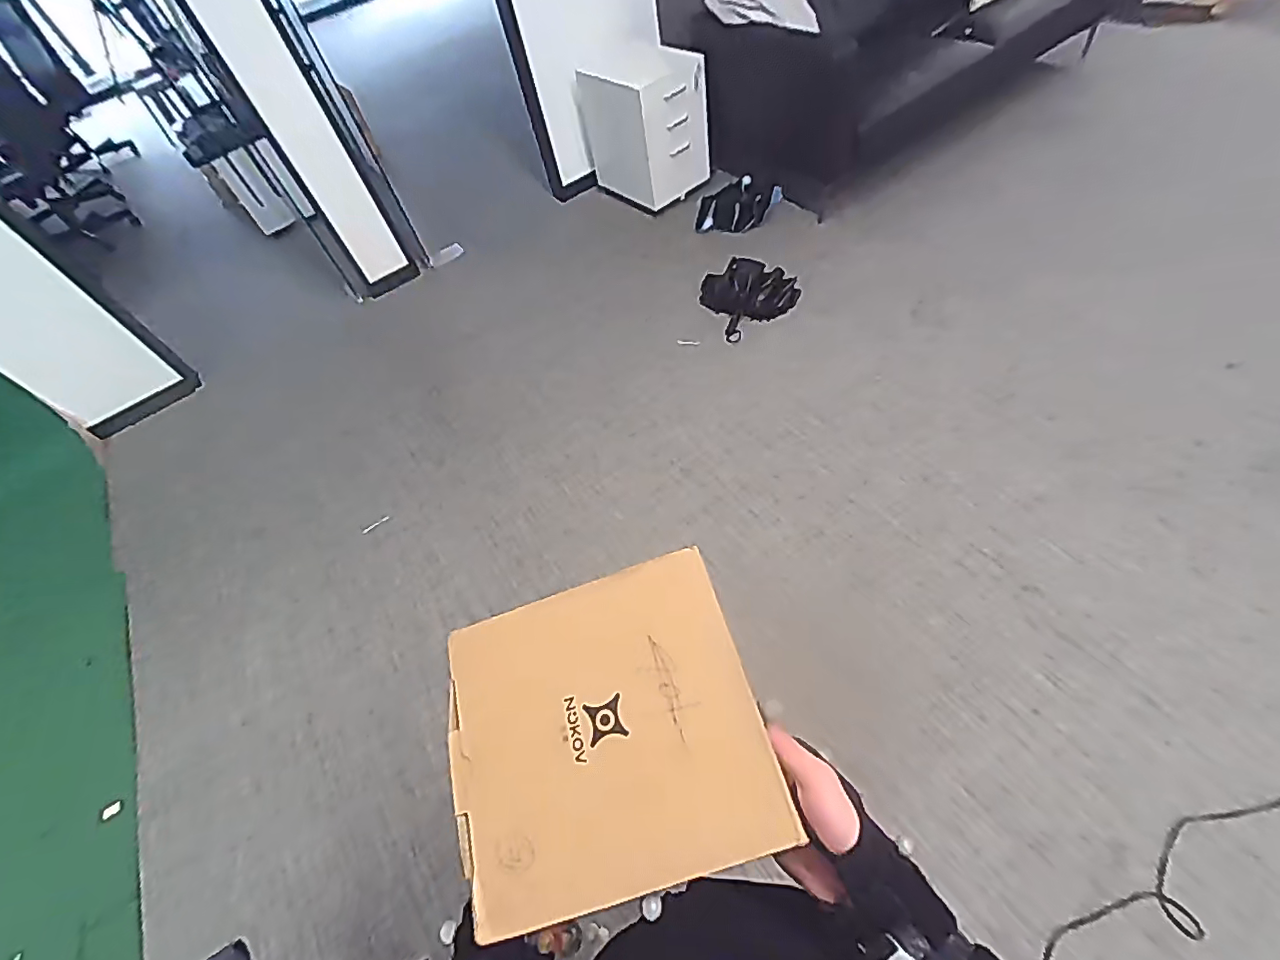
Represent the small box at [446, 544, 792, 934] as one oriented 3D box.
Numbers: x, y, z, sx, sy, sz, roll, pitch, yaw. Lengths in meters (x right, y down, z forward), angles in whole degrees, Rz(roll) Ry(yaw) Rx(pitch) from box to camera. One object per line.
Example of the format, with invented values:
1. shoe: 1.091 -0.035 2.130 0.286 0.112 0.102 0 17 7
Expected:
1. small box: -0.007 0.173 0.377 0.179 0.176 0.168 -21 59 2
